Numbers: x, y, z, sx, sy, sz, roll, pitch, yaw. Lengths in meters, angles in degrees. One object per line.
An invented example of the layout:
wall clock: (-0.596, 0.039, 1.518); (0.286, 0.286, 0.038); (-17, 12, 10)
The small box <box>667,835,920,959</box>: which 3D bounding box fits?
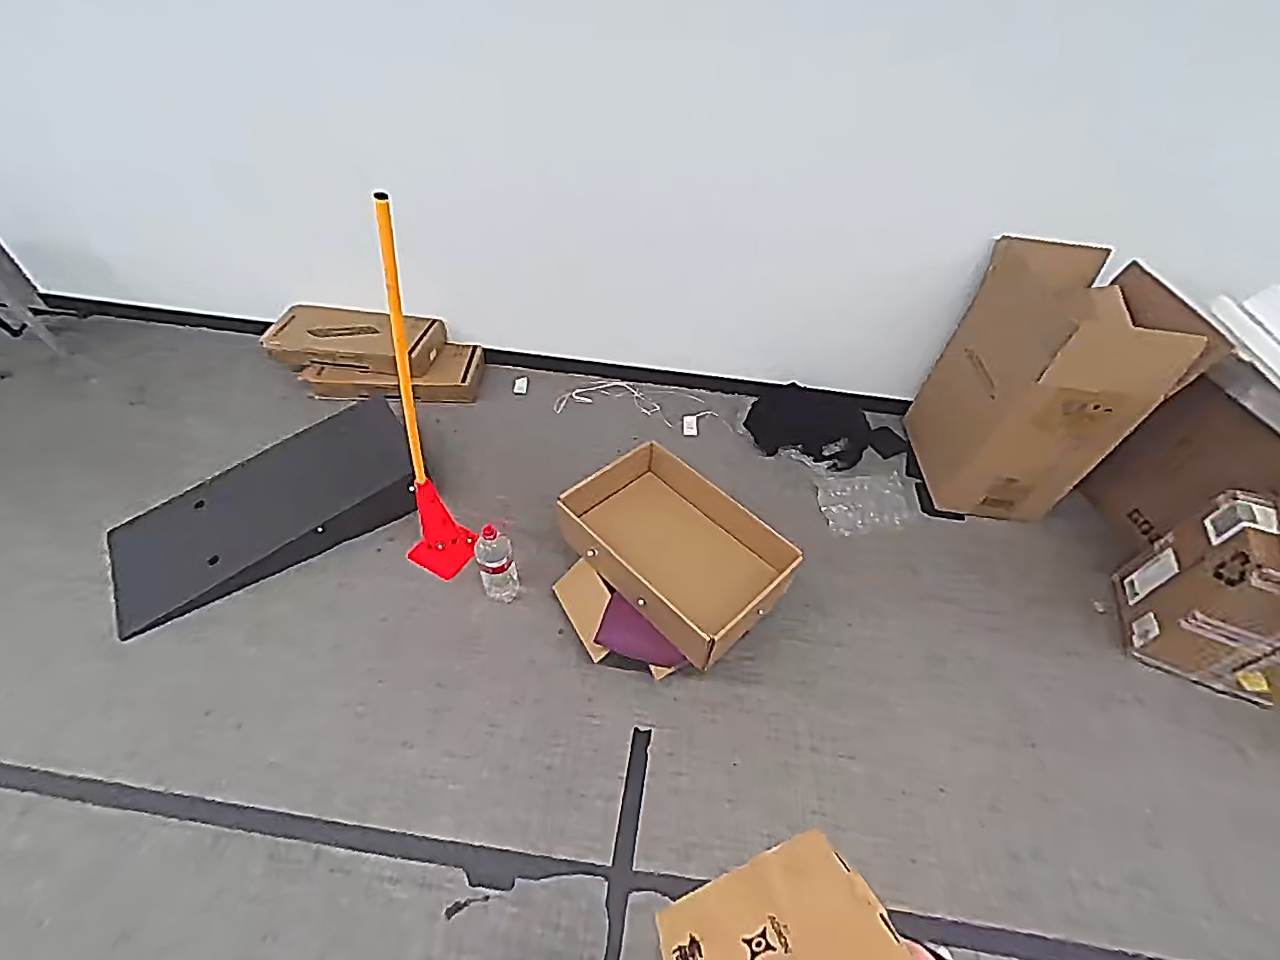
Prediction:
small box: (0.142, 0.452, 0.442); (0.179, 0.168, 0.176); (-22, 90, -7)
